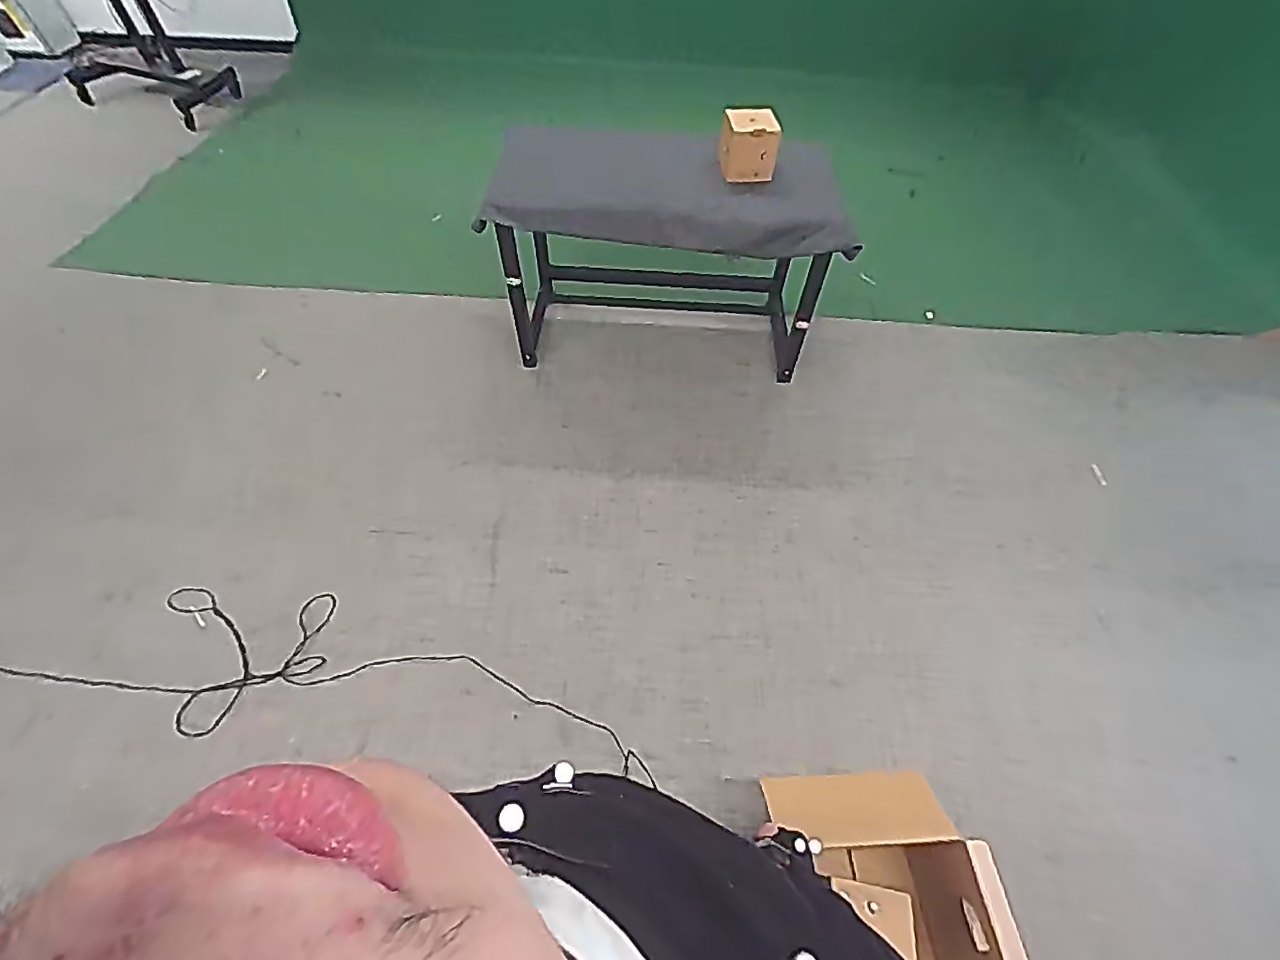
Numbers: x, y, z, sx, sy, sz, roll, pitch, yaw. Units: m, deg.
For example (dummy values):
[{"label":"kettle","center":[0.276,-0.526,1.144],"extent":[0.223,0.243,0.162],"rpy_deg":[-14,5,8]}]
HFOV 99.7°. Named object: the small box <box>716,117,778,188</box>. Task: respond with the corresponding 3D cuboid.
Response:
[{"label":"small box","center":[0.371,-1.153,1.905],"extent":[0.168,0.176,0.179],"rpy_deg":[-3,53,-6]}]
